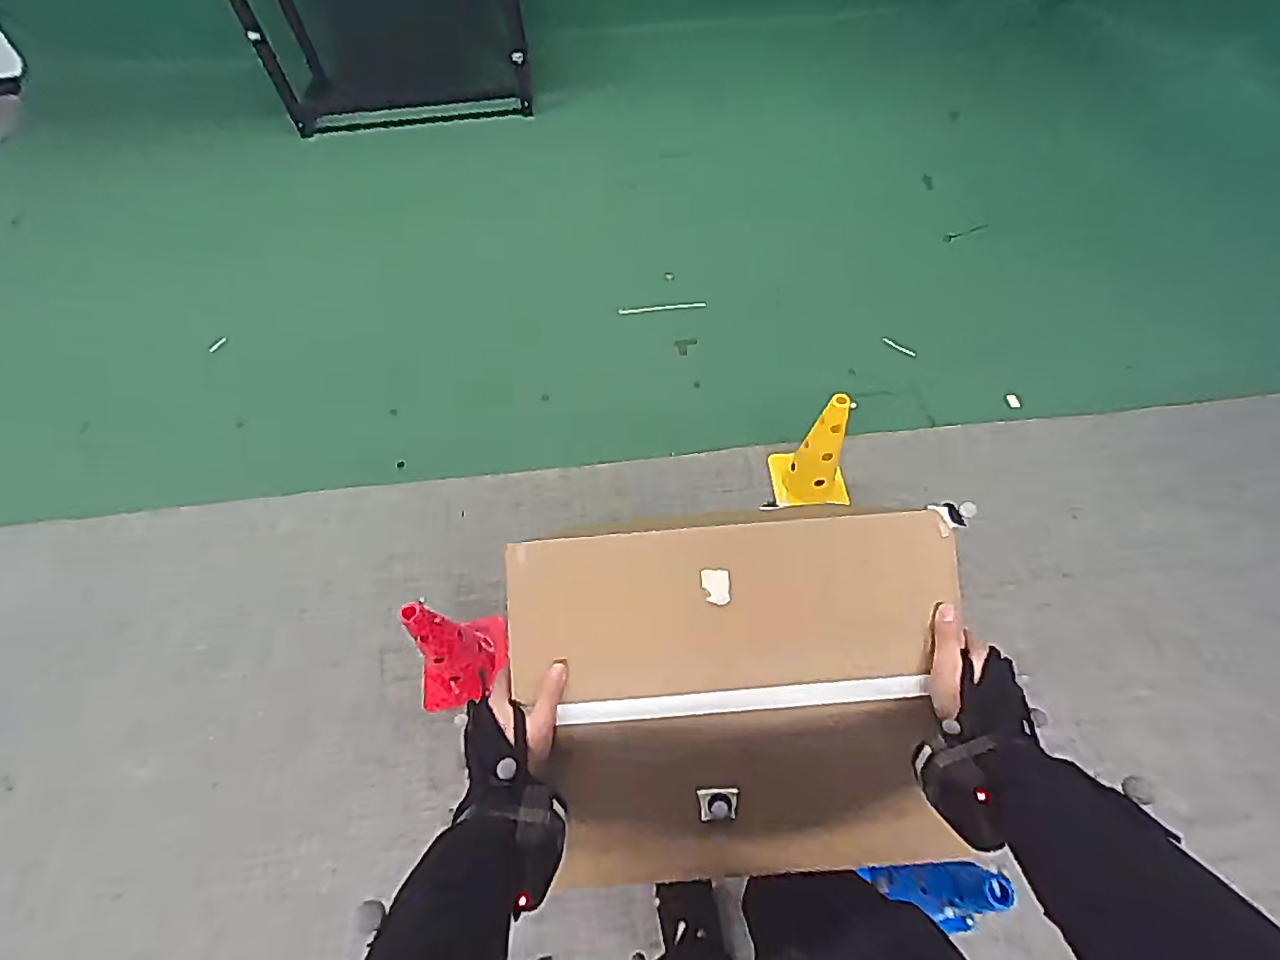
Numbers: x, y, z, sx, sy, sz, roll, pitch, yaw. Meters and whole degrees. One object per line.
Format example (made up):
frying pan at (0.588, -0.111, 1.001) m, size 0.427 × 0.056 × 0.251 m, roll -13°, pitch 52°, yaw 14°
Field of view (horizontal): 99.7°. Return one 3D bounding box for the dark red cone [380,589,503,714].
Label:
dark red cone at (-0.434, 0.331, 1.137) m, size 0.202 × 0.394 × 0.201 m, roll -12°, pitch 53°, yaw -4°

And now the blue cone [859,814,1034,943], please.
blue cone at (0.519, 0.666, 0.893) m, size 0.192 × 0.380 × 0.193 m, roll -6°, pitch 57°, yaw 0°
